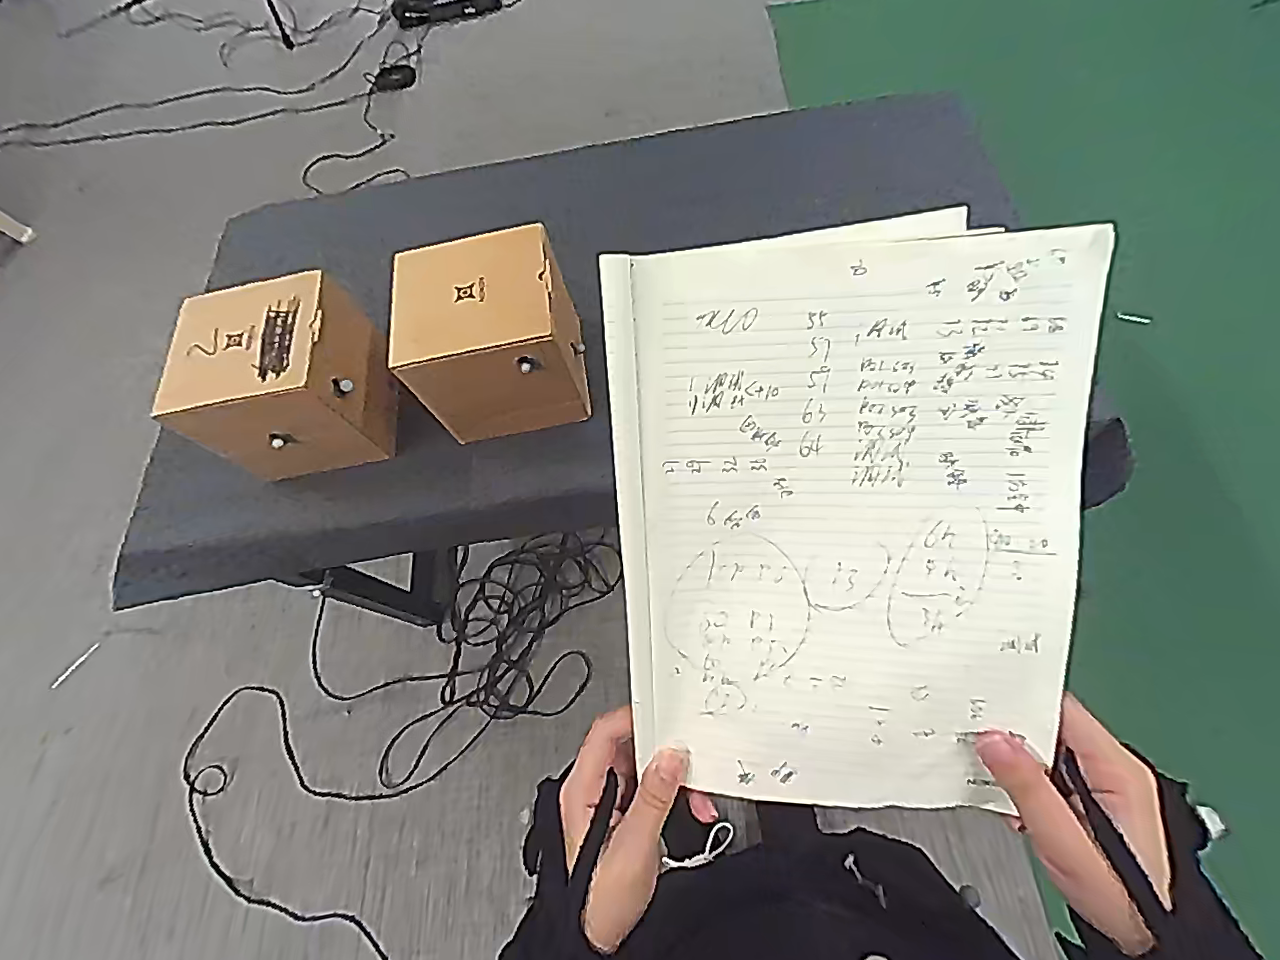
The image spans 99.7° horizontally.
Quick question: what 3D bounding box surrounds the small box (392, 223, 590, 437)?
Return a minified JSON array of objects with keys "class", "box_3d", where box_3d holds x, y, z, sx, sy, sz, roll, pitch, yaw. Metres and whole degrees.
[{"class":"small box","box_3d":[-0.170,-0.169,0.653,0.179,0.176,0.168,-11,65,3]}]
